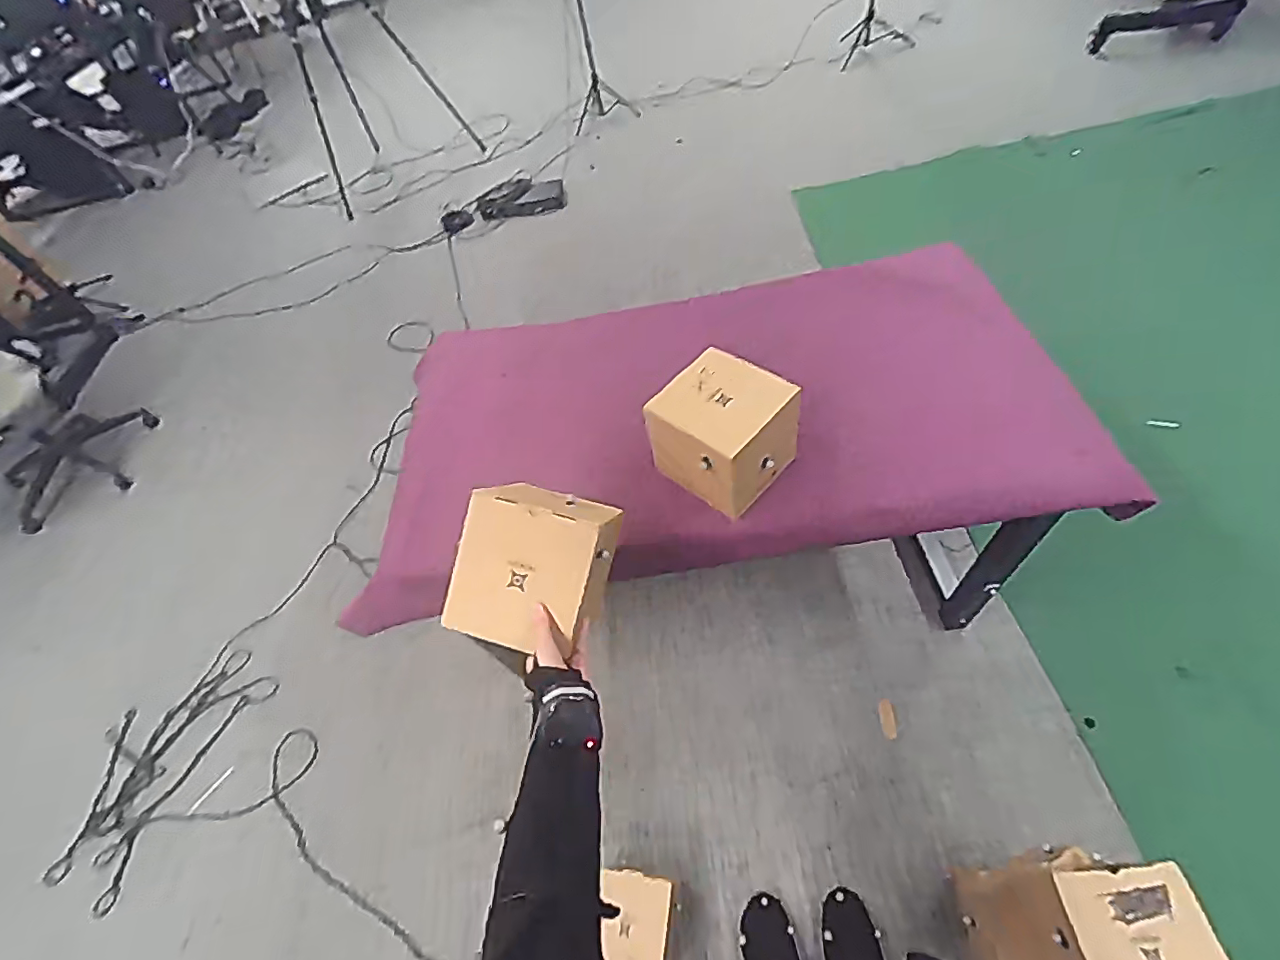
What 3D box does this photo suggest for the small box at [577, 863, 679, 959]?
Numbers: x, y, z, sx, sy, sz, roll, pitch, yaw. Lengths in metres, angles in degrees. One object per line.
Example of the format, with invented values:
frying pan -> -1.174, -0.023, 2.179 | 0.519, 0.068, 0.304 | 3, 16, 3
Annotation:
small box -> -0.017, 0.911, 1.114 | 0.168, 0.176, 0.179 | 2, 56, 14

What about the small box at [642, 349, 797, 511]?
small box -> 0.131, -0.075, 0.877 | 0.179, 0.176, 0.168 | 34, 67, 31

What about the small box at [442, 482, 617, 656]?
small box -> -0.137, 0.106, 0.731 | 0.168, 0.176, 0.179 | 14, 93, 7

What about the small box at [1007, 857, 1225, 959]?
small box -> 0.658, 0.639, 0.755 | 0.168, 0.176, 0.179 | -8, 55, 5

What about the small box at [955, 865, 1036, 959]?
small box -> 0.715, 0.833, 1.015 | 0.179, 0.176, 0.168 | -2, 55, 11
